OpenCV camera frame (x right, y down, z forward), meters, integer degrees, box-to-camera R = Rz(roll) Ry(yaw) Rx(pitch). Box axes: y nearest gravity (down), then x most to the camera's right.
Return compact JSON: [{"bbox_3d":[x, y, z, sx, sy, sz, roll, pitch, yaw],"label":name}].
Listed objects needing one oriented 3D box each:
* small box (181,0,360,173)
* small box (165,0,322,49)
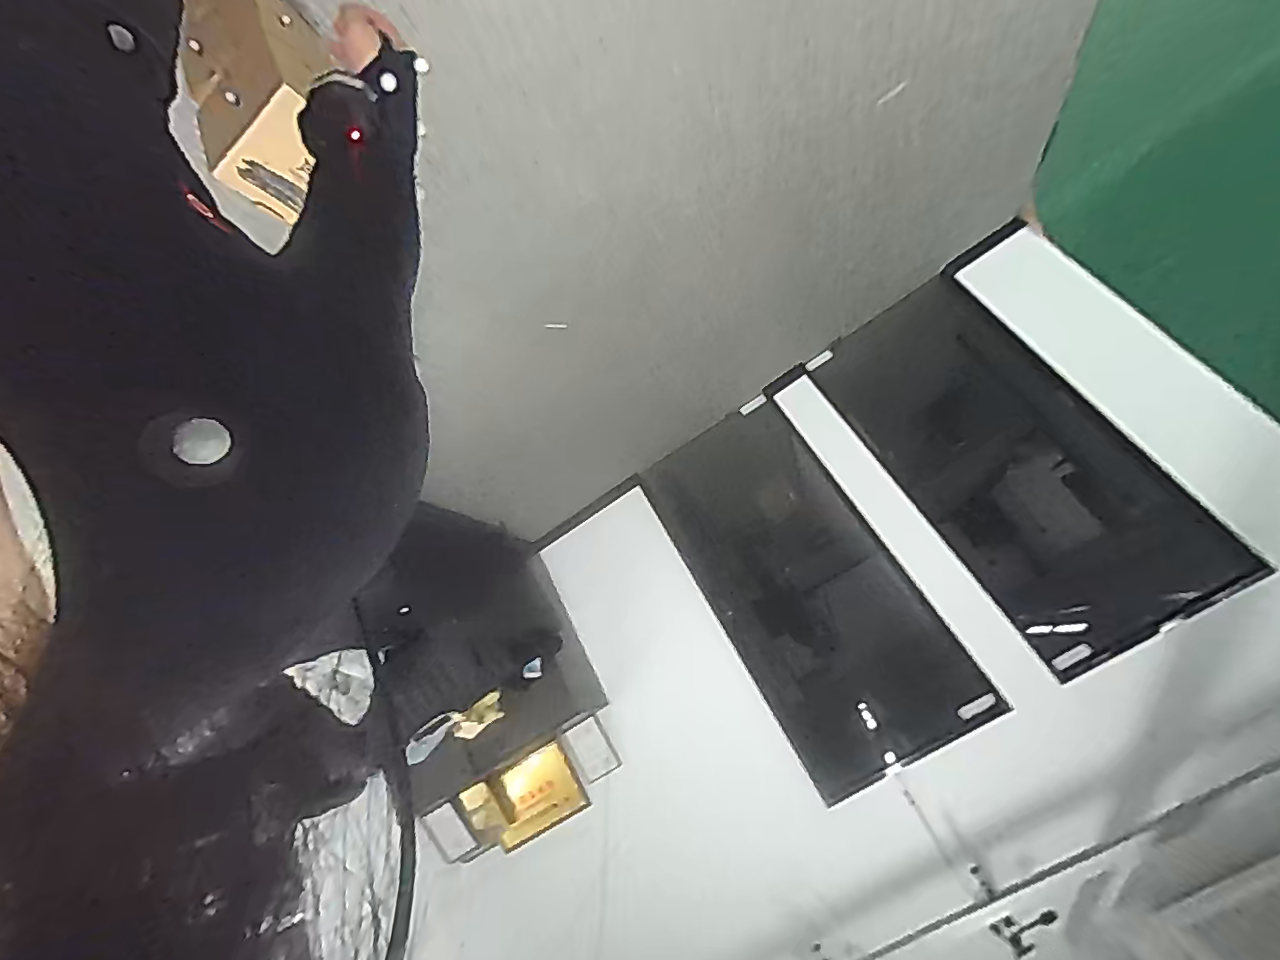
[{"bbox_3d":[-0.613,-0.670,0.896,0.168,0.176,0.179,-34,158,13],"label":"small box"},{"bbox_3d":[-0.696,-0.794,0.962,0.168,0.176,0.179,-33,157,10],"label":"small box"}]
